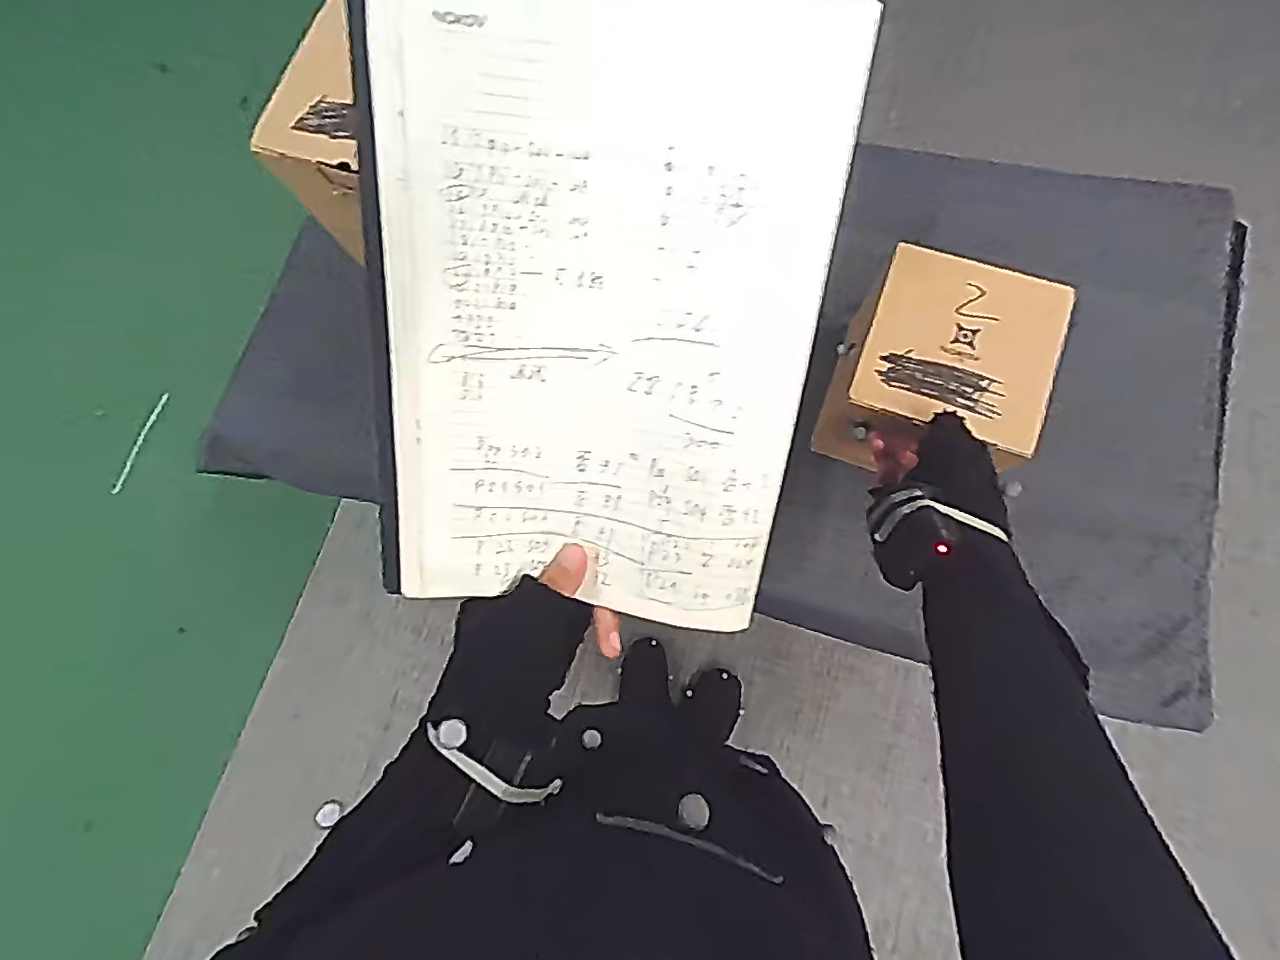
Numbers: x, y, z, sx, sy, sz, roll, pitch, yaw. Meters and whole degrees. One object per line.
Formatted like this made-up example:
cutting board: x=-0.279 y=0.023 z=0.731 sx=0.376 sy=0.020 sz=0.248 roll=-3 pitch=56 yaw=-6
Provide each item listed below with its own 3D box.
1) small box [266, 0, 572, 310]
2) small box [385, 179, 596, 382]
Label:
small box: x=-0.175 y=-0.285 z=0.492 sx=0.168 sy=0.176 sz=0.179 roll=18 pitch=78 yaw=8
small box: x=-0.160 y=-0.244 z=0.650 sx=0.168 sy=0.176 sz=0.179 roll=17 pitch=79 yaw=9
